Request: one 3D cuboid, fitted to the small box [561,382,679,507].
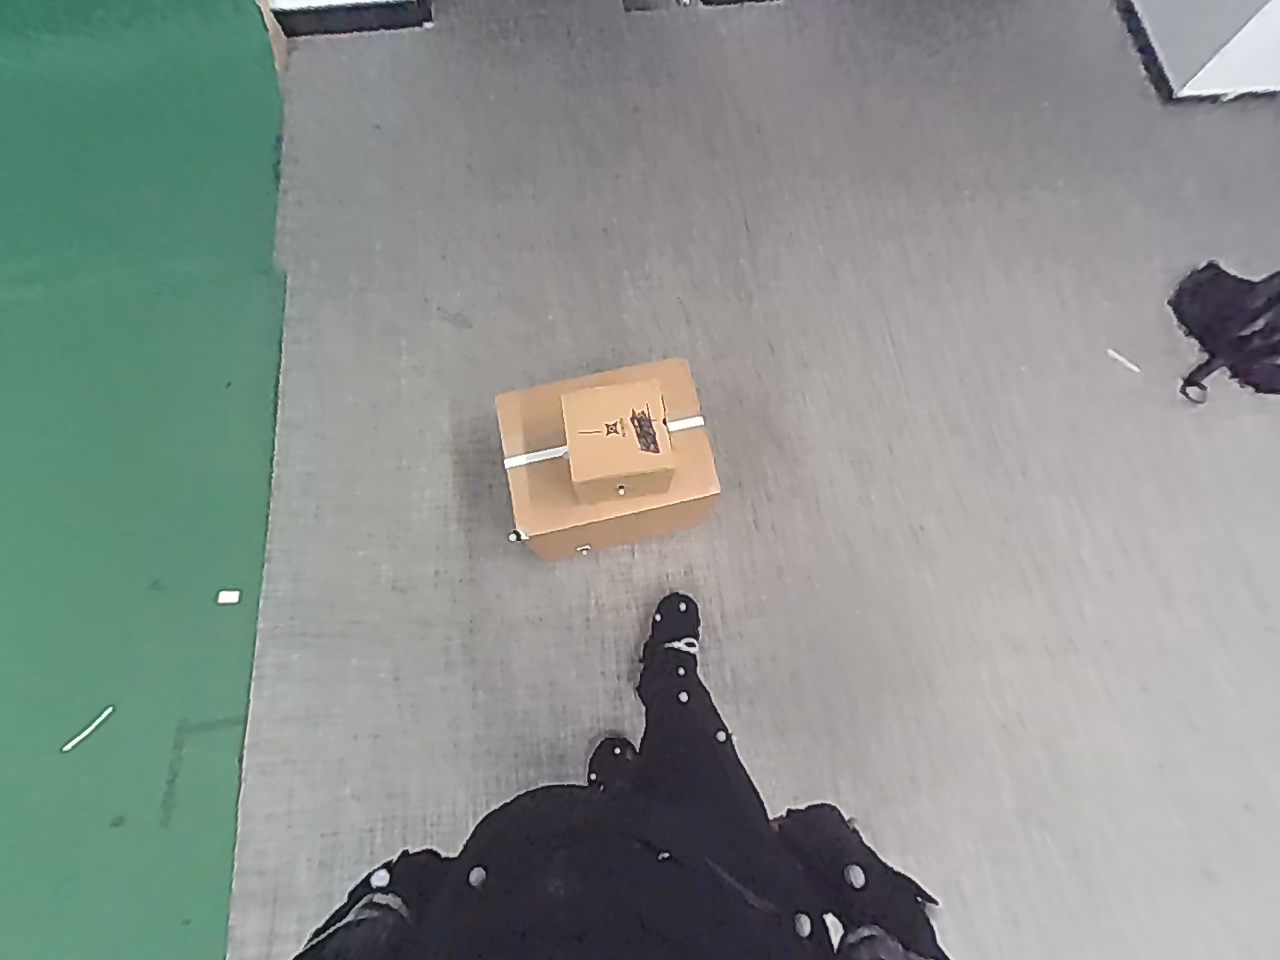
[{"bbox_3d":[-0.040,-0.058,0.984,0.179,0.176,0.168,-11,75,-5],"label":"small box"}]
